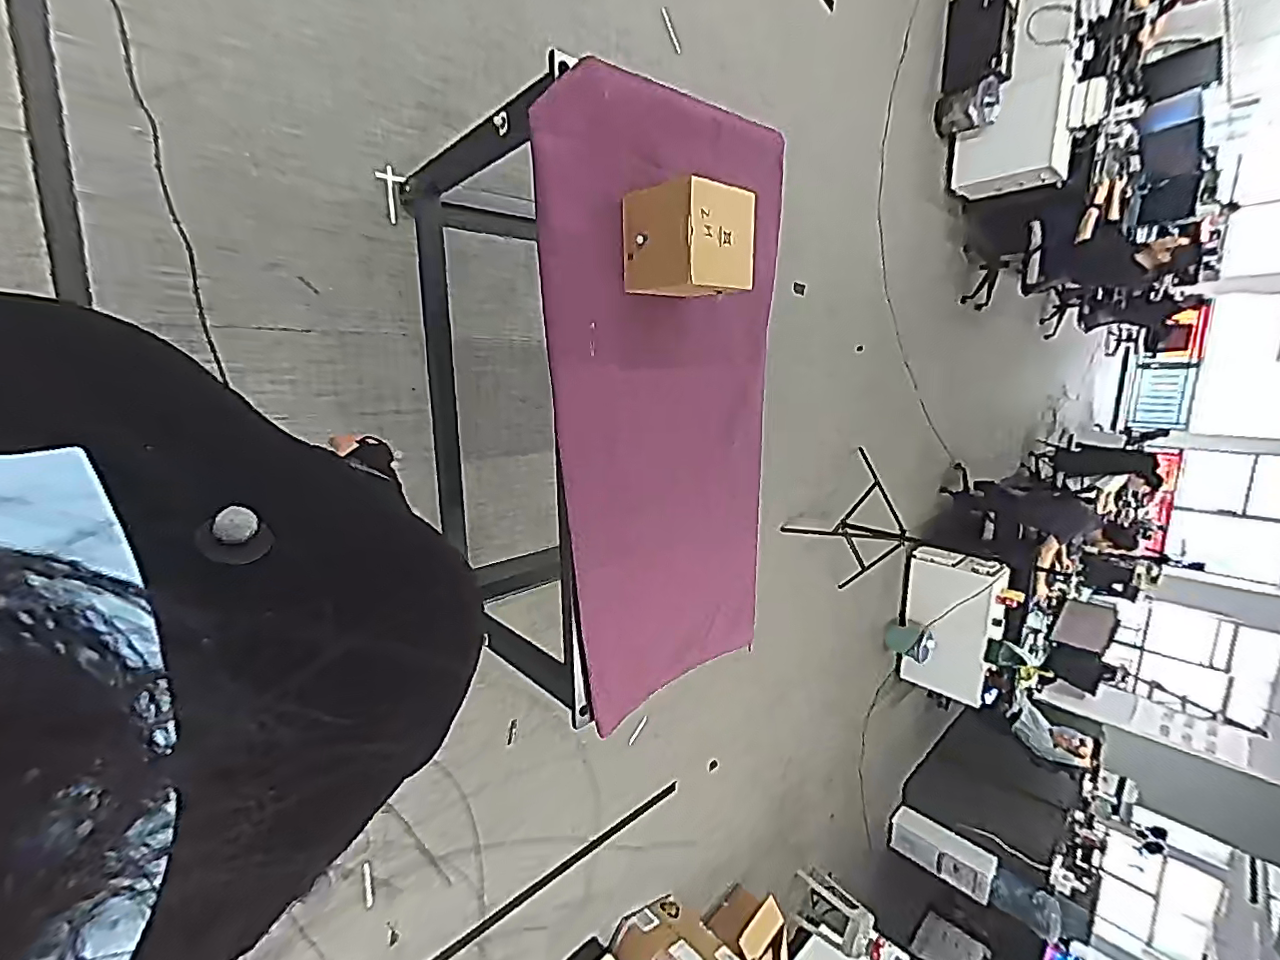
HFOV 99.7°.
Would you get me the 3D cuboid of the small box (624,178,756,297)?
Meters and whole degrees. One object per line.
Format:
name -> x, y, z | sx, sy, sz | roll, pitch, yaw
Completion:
small box -> 0.090, -0.430, 0.990 | 0.179, 0.176, 0.168 | -13, 108, -41
